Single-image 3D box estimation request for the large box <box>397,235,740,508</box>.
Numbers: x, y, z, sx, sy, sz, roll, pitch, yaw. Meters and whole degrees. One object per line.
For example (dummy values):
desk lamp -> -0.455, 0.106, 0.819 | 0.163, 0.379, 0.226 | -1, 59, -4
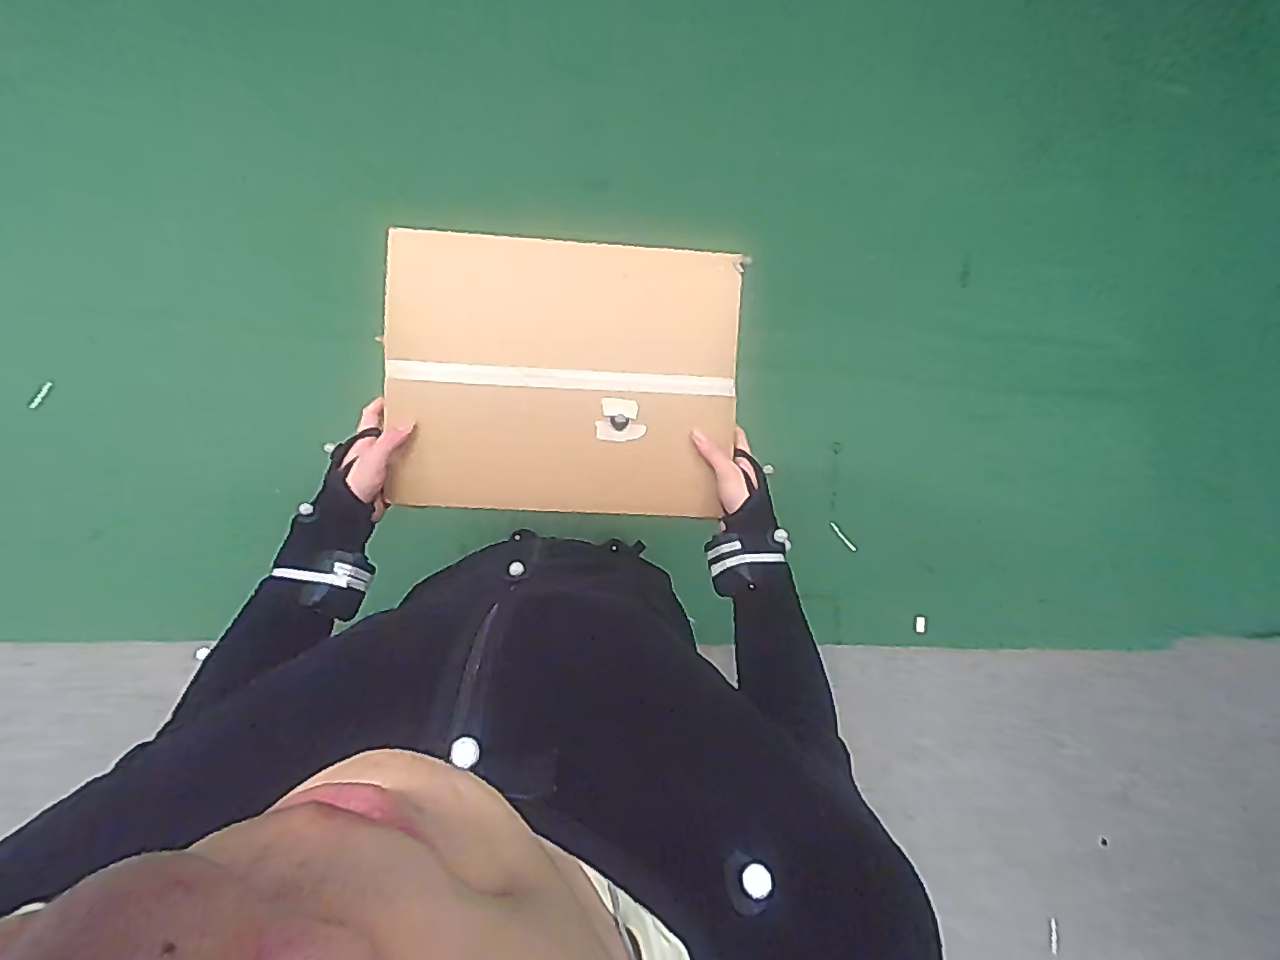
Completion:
large box -> -0.097, -0.131, 0.786 | 0.408, 0.320, 0.320 | 2, 94, -5
